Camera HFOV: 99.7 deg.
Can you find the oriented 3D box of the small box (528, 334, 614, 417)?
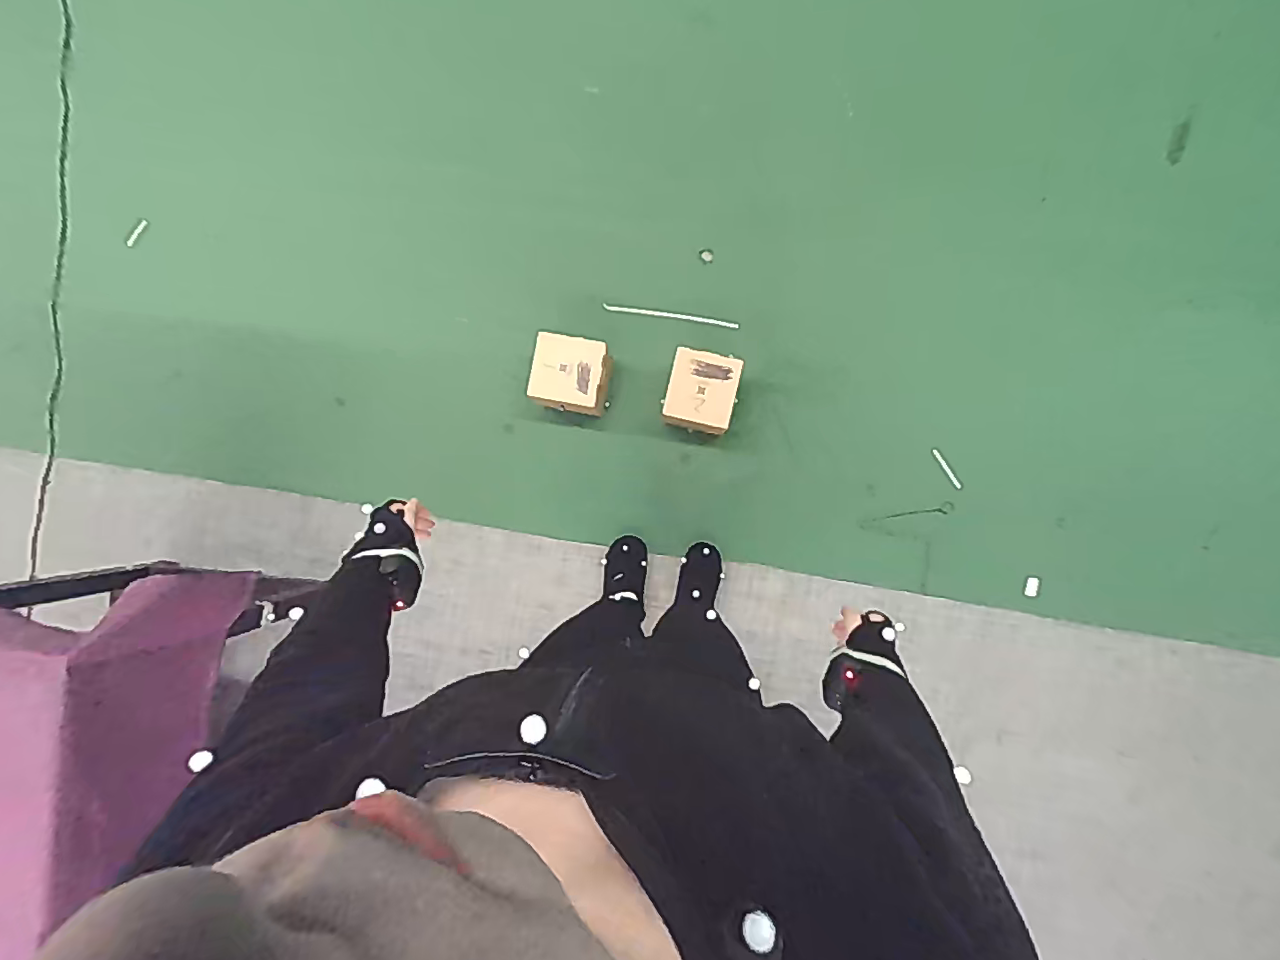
[{"bbox_3d":[-0.173,-0.266,1.418,0.179,0.176,0.168,11,89,5],"label":"small box"}]
